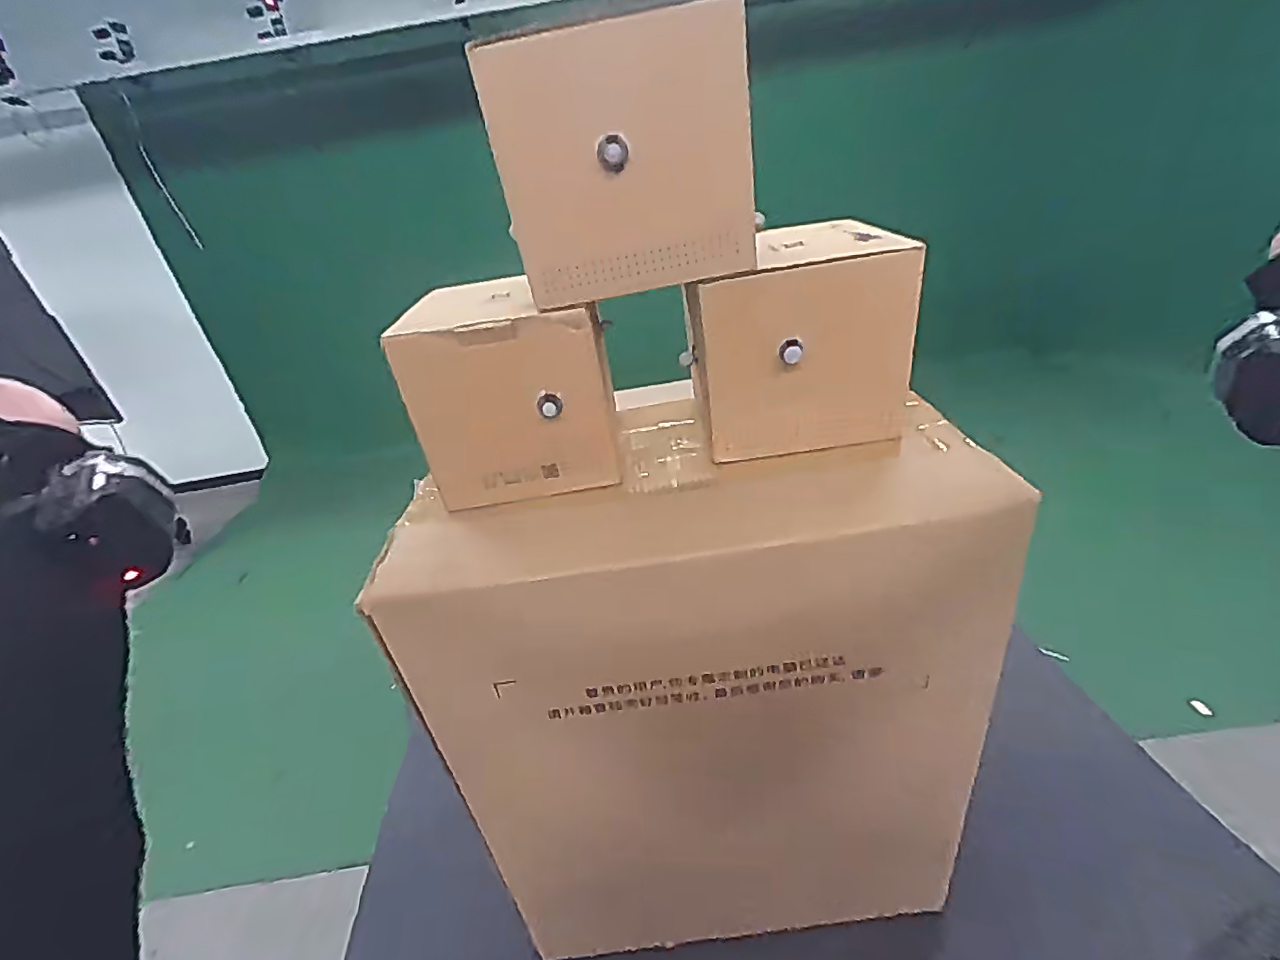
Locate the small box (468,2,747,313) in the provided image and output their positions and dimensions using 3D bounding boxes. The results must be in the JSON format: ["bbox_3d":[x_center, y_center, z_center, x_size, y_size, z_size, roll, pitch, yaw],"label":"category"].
[{"bbox_3d":[-0.014,-0.251,0.444,0.179,0.176,0.168,-11,31,2],"label":"small box"}]

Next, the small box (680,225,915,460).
[{"bbox_3d":[0.139,-0.134,0.525,0.179,0.176,0.168,-9,32,3],"label":"small box"}]

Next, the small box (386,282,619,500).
[{"bbox_3d":[-0.114,-0.091,0.533,0.168,0.176,0.179,-8,30,0],"label":"small box"}]
